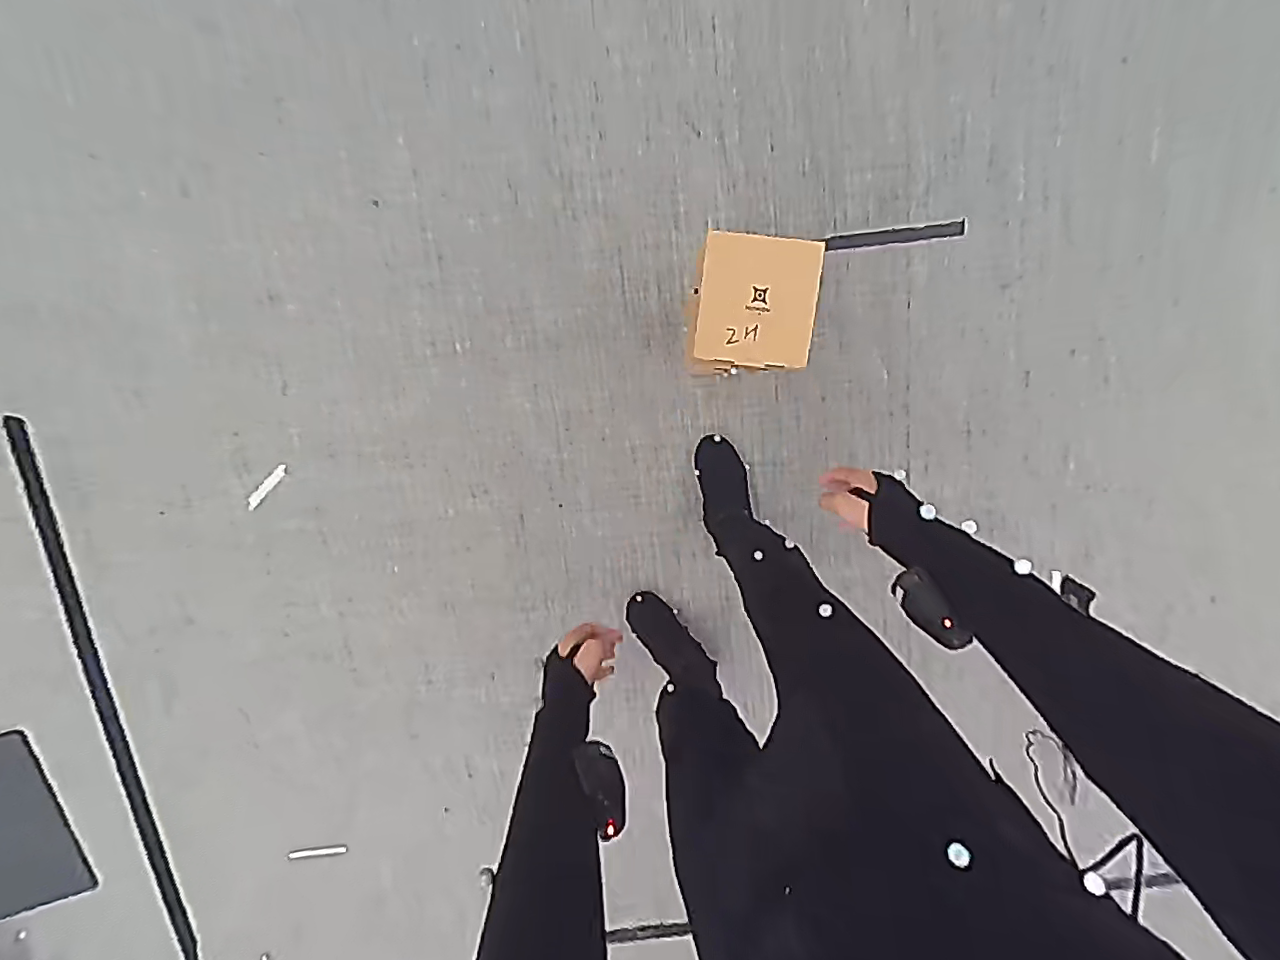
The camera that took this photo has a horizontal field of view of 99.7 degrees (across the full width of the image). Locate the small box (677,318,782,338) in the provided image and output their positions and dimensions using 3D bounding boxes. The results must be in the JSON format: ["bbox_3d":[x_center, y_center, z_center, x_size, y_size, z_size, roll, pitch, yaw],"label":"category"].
[{"bbox_3d":[0.155,-0.348,0.961,0.168,0.176,0.179,0,102,-1],"label":"small box"}]

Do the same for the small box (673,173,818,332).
[{"bbox_3d":[0.142,-0.322,0.798,0.168,0.176,0.179,6,102,-2],"label":"small box"}]

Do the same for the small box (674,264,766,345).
[{"bbox_3d":[0.160,-0.377,1.120,0.168,0.176,0.179,-3,102,-1],"label":"small box"}]
